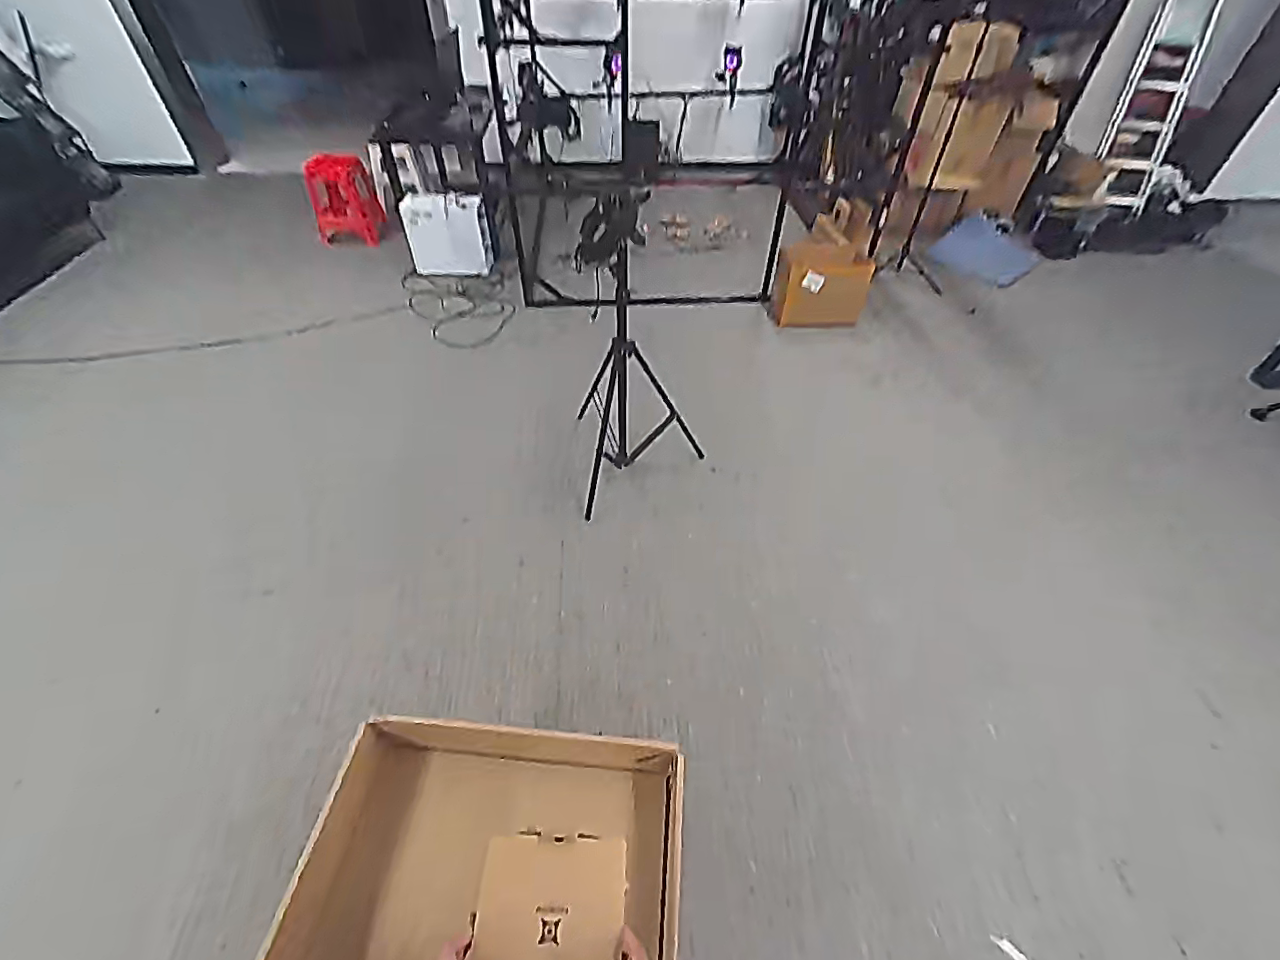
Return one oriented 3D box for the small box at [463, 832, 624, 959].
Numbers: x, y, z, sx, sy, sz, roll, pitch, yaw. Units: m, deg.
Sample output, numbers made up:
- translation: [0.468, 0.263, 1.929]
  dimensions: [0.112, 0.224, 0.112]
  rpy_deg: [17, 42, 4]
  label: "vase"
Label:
- translation: [-0.114, 0.541, 0.644]
  dimensions: [0.168, 0.176, 0.179]
  rpy_deg: [6, 50, -4]
  label: "small box"
